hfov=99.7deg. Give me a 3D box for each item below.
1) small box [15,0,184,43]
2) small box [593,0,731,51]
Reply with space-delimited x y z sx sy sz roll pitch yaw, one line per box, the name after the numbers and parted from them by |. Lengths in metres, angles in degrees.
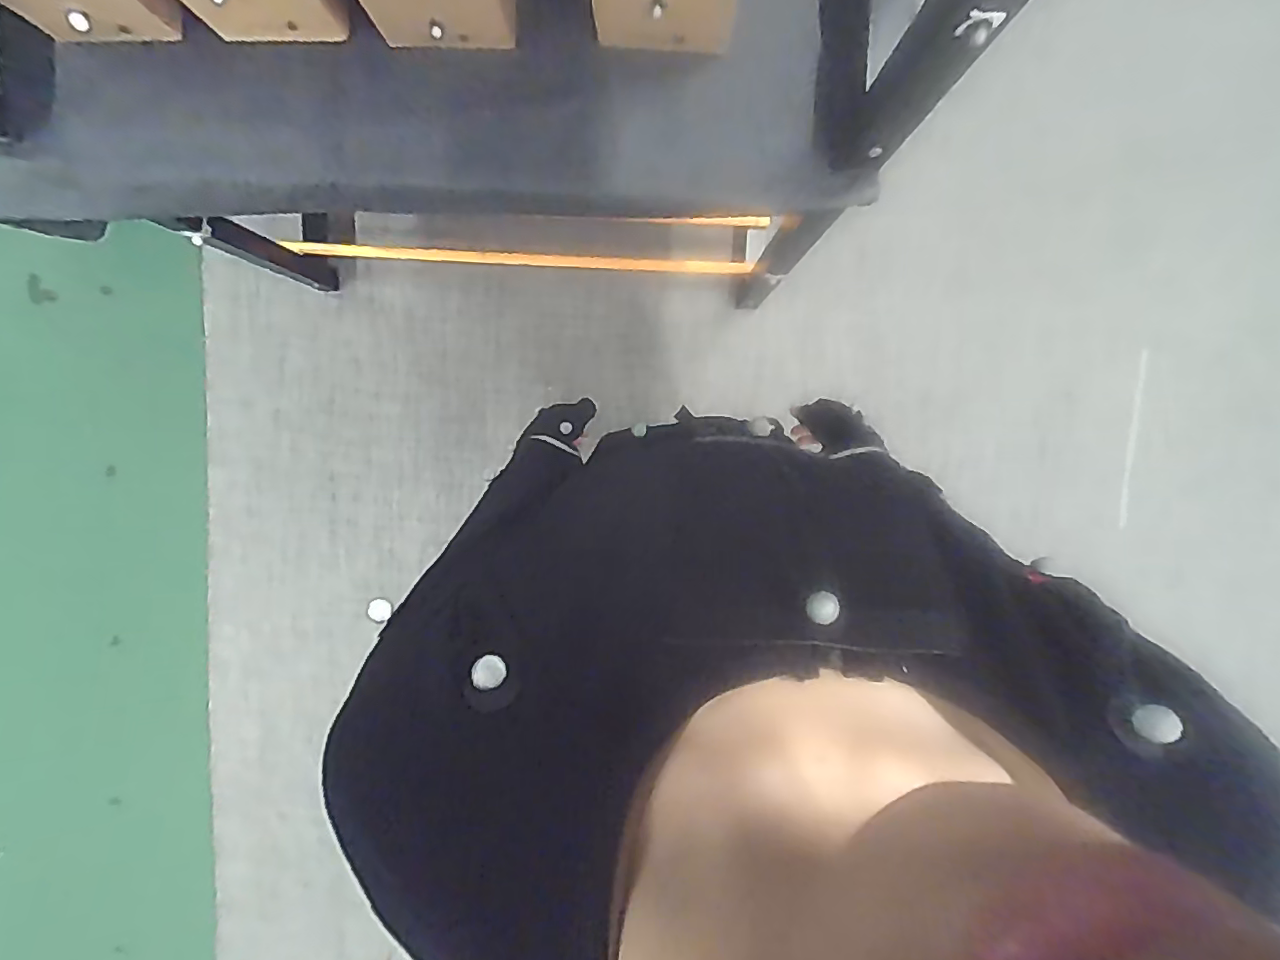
-0.678 -0.656 0.623 0.168 0.176 0.179 0 96 1 | small box
0.031 -0.630 0.607 0.168 0.176 0.179 6 95 0 | small box
